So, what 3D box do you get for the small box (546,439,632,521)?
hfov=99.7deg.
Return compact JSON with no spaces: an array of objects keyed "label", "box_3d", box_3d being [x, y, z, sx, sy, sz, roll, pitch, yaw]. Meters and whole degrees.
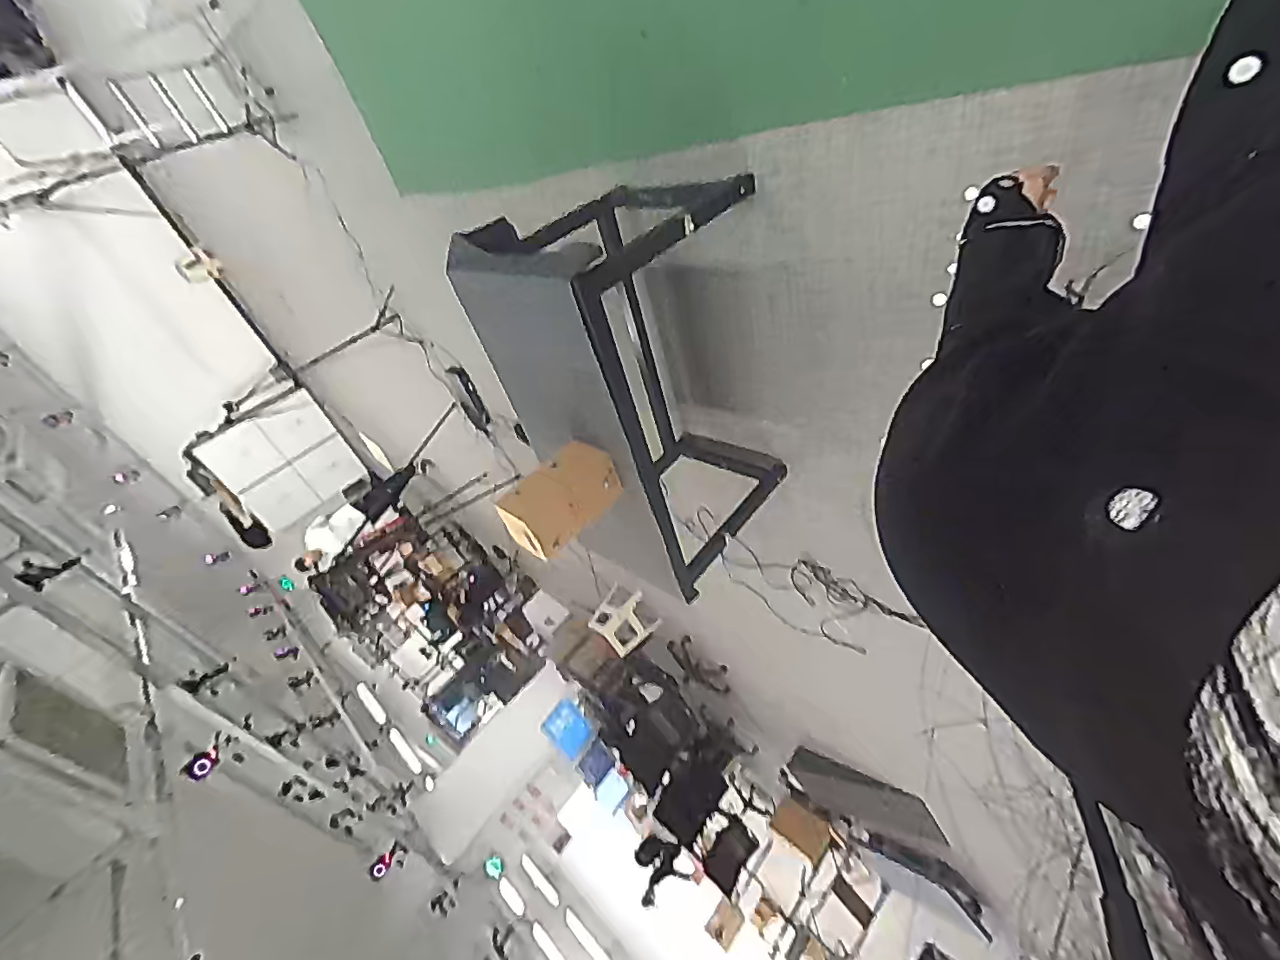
[{"label":"small box","box_3d":[-0.157,-0.007,1.689,0.179,0.176,0.168,21,145,41]}]
